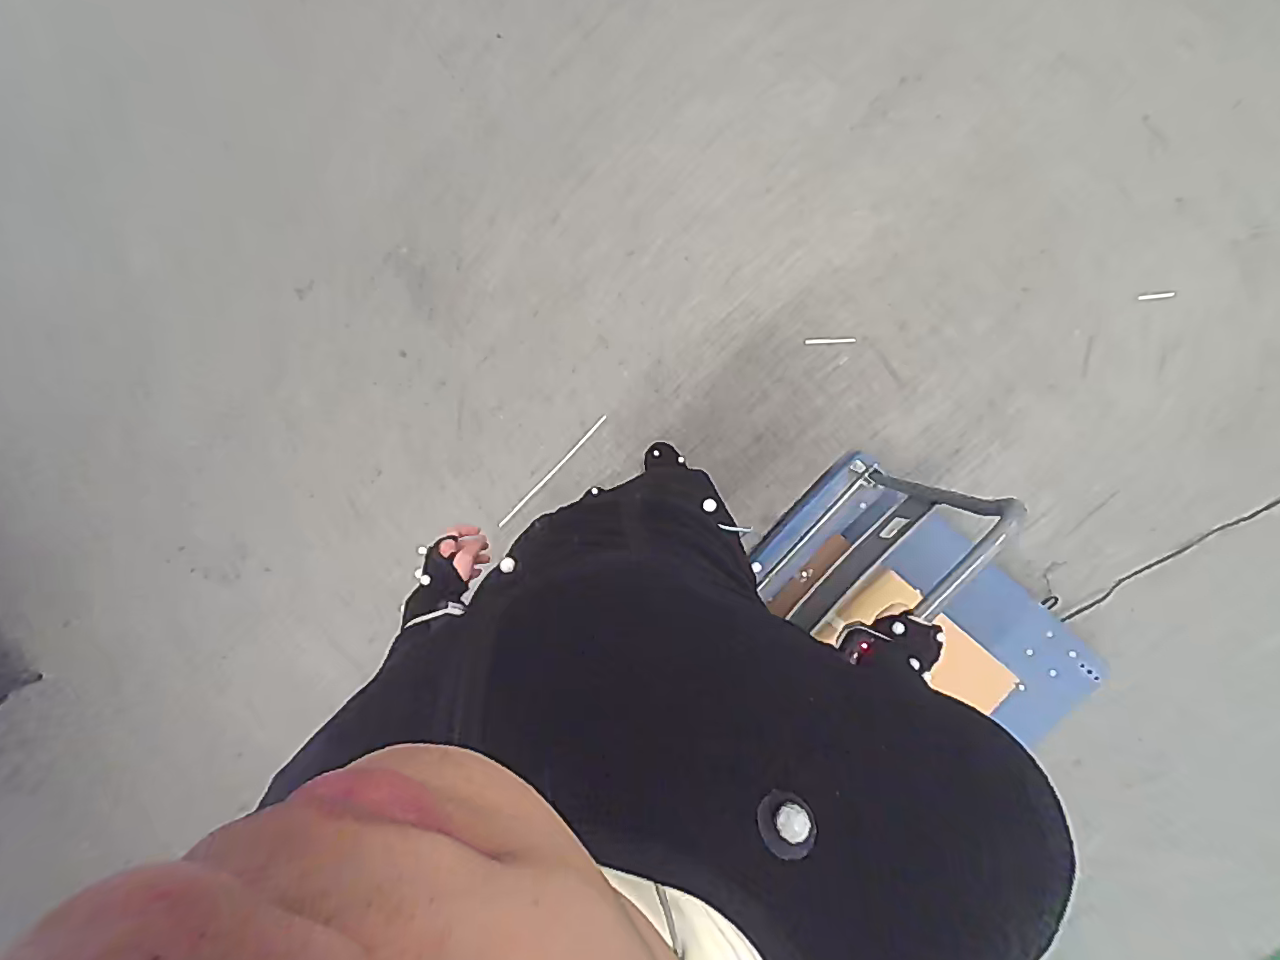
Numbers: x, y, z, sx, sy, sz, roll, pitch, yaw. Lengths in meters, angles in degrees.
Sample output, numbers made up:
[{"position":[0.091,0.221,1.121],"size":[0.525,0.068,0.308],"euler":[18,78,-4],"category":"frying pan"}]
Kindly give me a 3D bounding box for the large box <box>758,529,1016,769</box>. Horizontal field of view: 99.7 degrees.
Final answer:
[{"position":[0.554,0.375,1.301],"size":[0.408,0.320,0.320],"euler":[40,96,0],"category":"large box"}]
